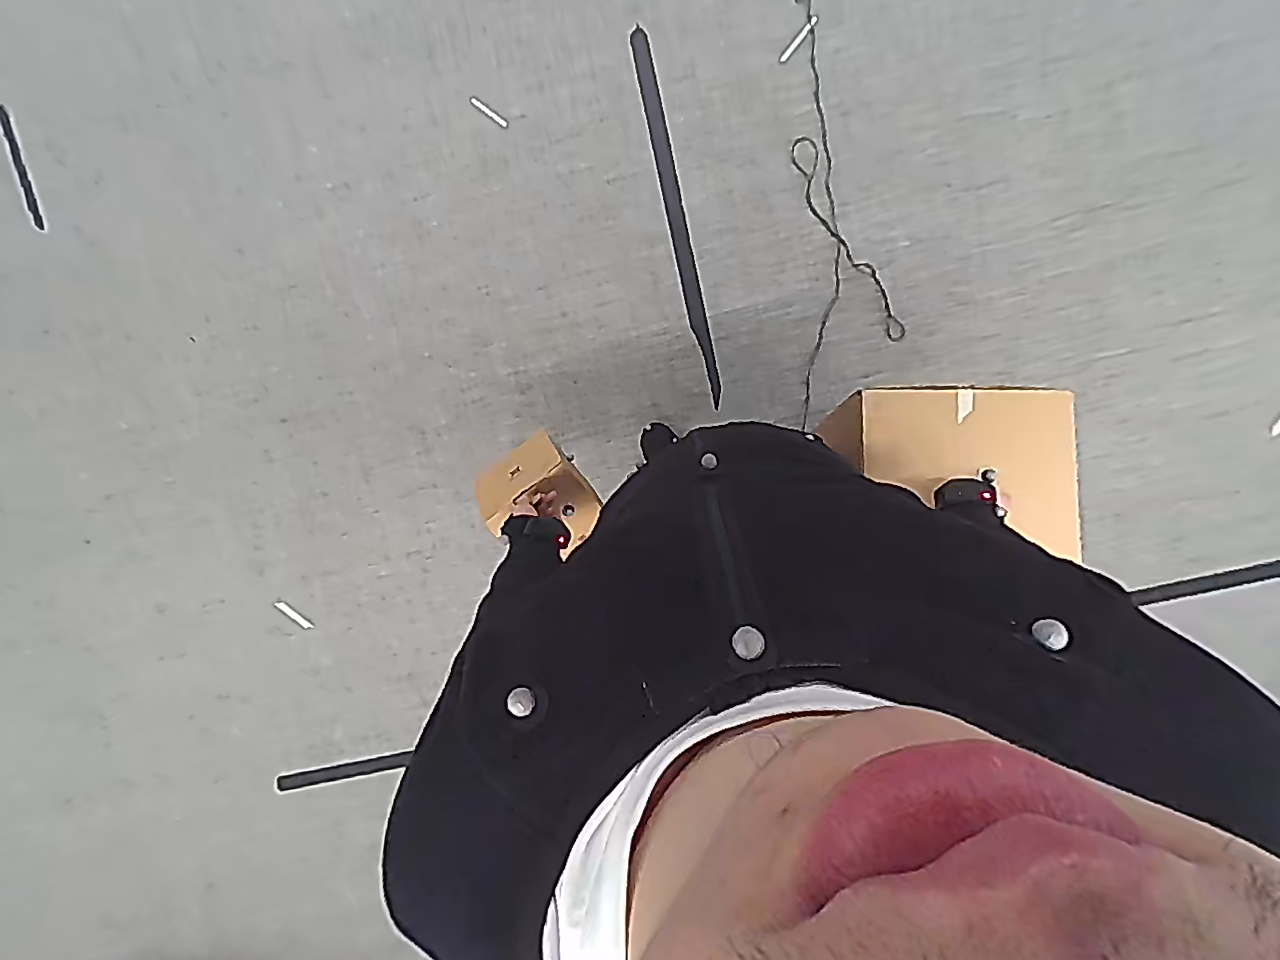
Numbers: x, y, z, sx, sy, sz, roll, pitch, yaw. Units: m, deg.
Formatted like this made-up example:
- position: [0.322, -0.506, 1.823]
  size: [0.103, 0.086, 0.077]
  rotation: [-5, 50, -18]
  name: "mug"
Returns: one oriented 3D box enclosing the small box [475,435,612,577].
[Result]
- position: [-0.175, 0.051, 0.988]
  size: [0.168, 0.179, 0.176]
  rotation: [-38, 120, -2]
  name: "small box"
